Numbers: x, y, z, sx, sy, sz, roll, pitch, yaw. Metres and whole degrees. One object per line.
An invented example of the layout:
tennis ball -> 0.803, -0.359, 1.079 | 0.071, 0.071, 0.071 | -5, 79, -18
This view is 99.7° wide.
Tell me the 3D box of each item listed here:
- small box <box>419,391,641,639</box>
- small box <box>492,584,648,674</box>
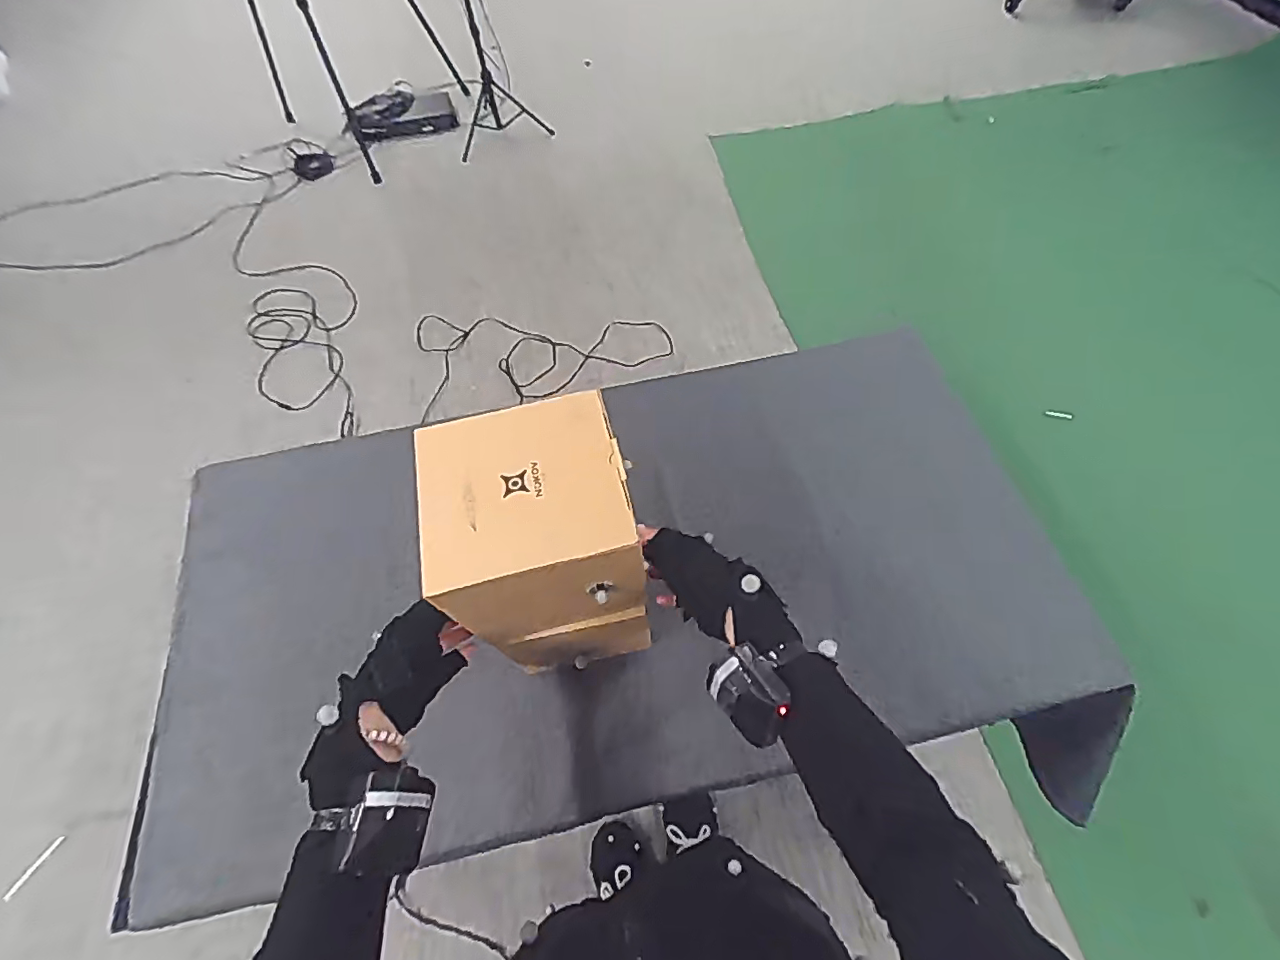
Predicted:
small box -> -0.098, 0.042, 0.533 | 0.179, 0.176, 0.168 | -13, 59, -4
small box -> -0.086, 0.125, 0.673 | 0.168, 0.176, 0.179 | -11, 61, -3
